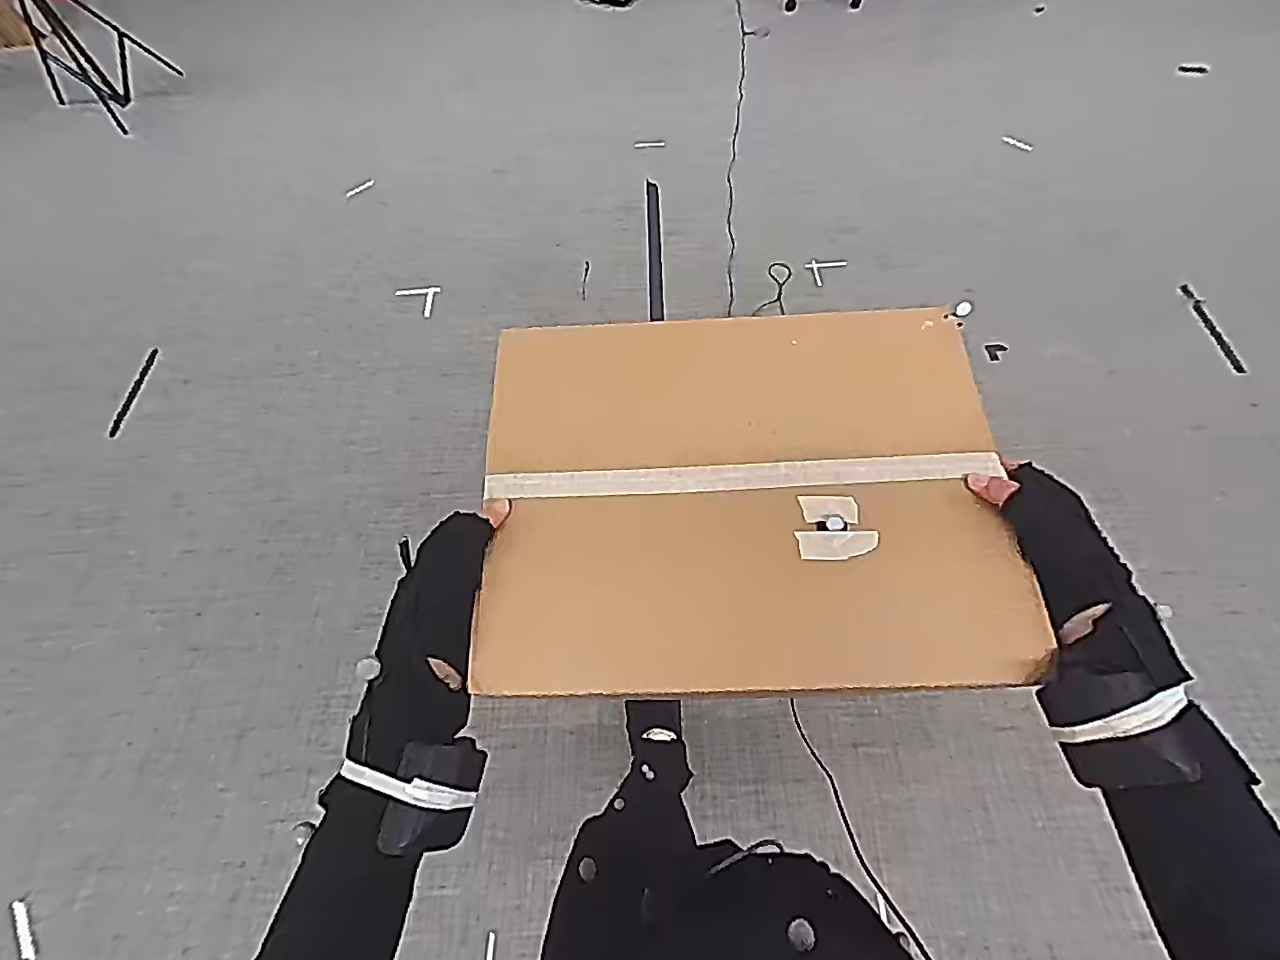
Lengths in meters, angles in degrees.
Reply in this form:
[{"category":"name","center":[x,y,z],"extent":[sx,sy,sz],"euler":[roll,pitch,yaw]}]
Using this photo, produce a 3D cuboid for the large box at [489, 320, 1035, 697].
[{"category":"large box","center":[0.087,0.060,0.583],"extent":[0.408,0.320,0.320],"euler":[-2,68,3]}]
